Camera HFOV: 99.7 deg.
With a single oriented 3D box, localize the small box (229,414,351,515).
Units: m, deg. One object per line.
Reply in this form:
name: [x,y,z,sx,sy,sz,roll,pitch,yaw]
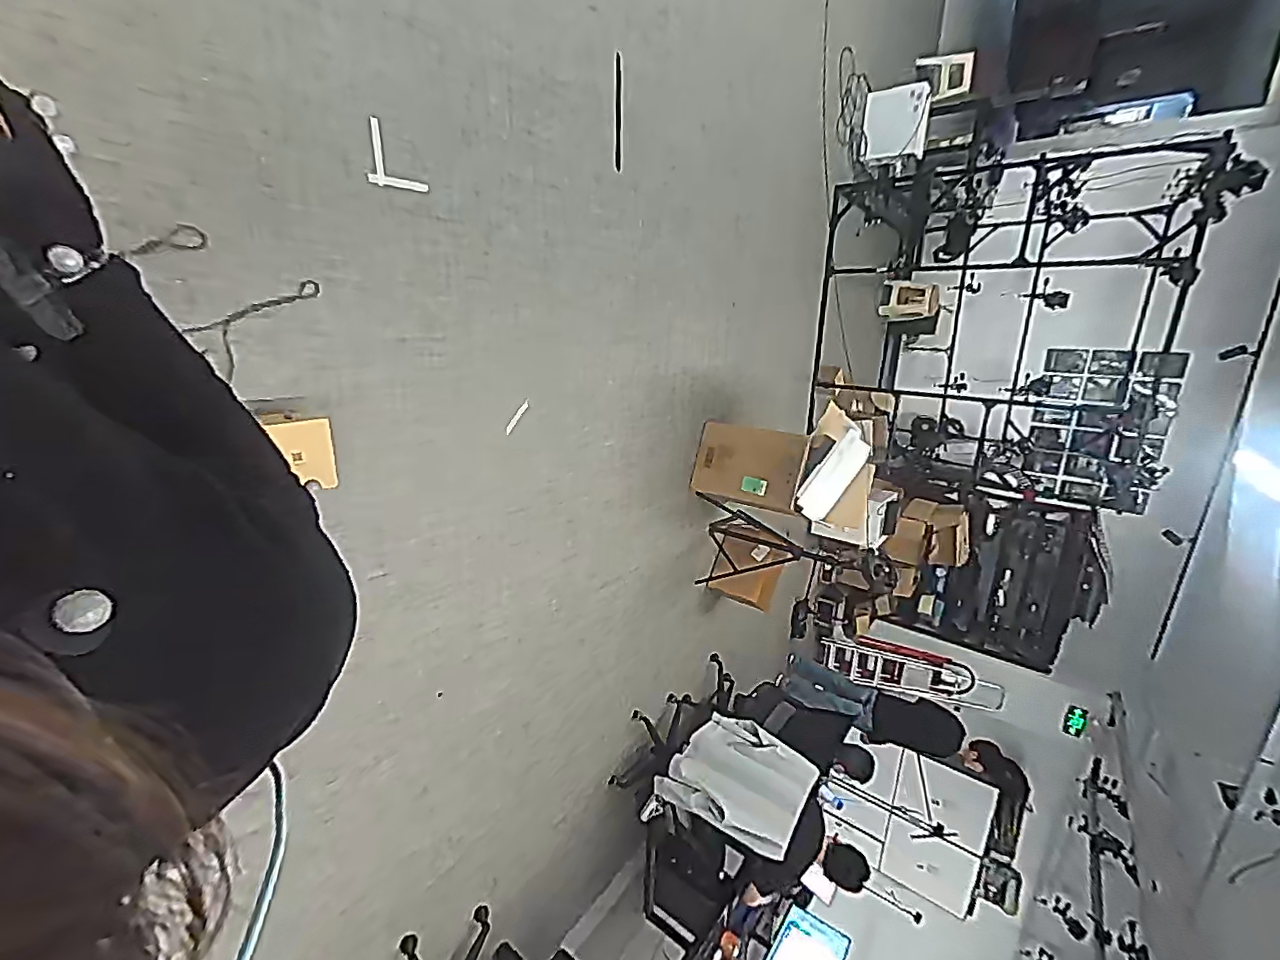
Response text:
small box: [-0.827,-0.036,1.290,0.179,0.176,0.168,-48,158,-60]
